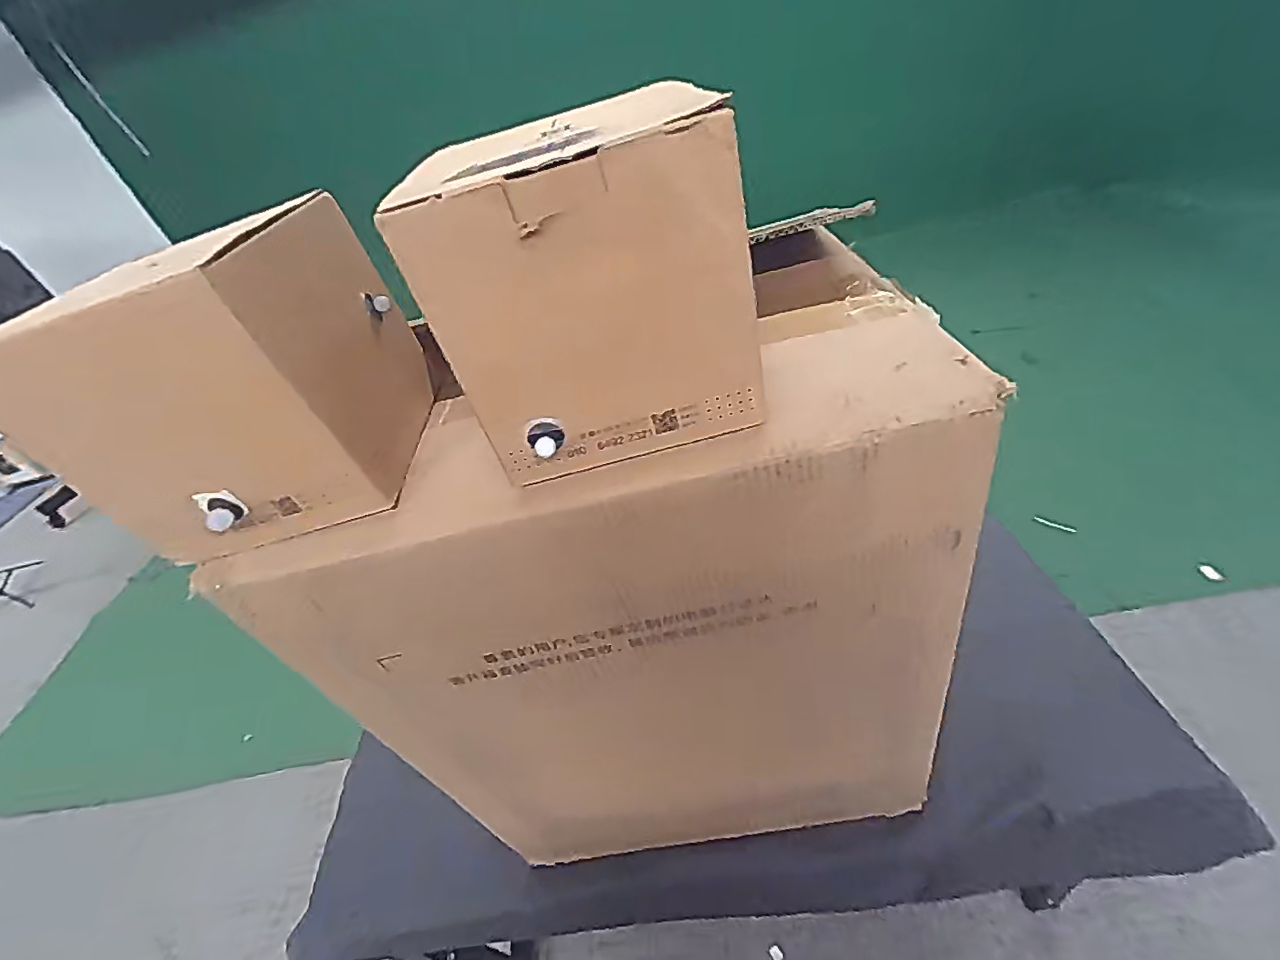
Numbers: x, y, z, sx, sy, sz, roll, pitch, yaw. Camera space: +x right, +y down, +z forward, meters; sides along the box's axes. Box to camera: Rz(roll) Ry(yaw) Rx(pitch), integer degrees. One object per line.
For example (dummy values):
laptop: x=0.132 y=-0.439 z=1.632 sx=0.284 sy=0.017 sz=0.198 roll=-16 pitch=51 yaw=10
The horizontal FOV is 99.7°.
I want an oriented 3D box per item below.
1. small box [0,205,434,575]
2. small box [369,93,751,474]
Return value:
small box: x=-0.272 y=-0.064 z=0.385 sx=0.168 sy=0.176 sz=0.179 roll=-18 pitch=40 yaw=6
small box: x=-0.034 y=-0.122 z=0.351 sx=0.168 sy=0.176 sz=0.179 roll=-15 pitch=38 yaw=4
